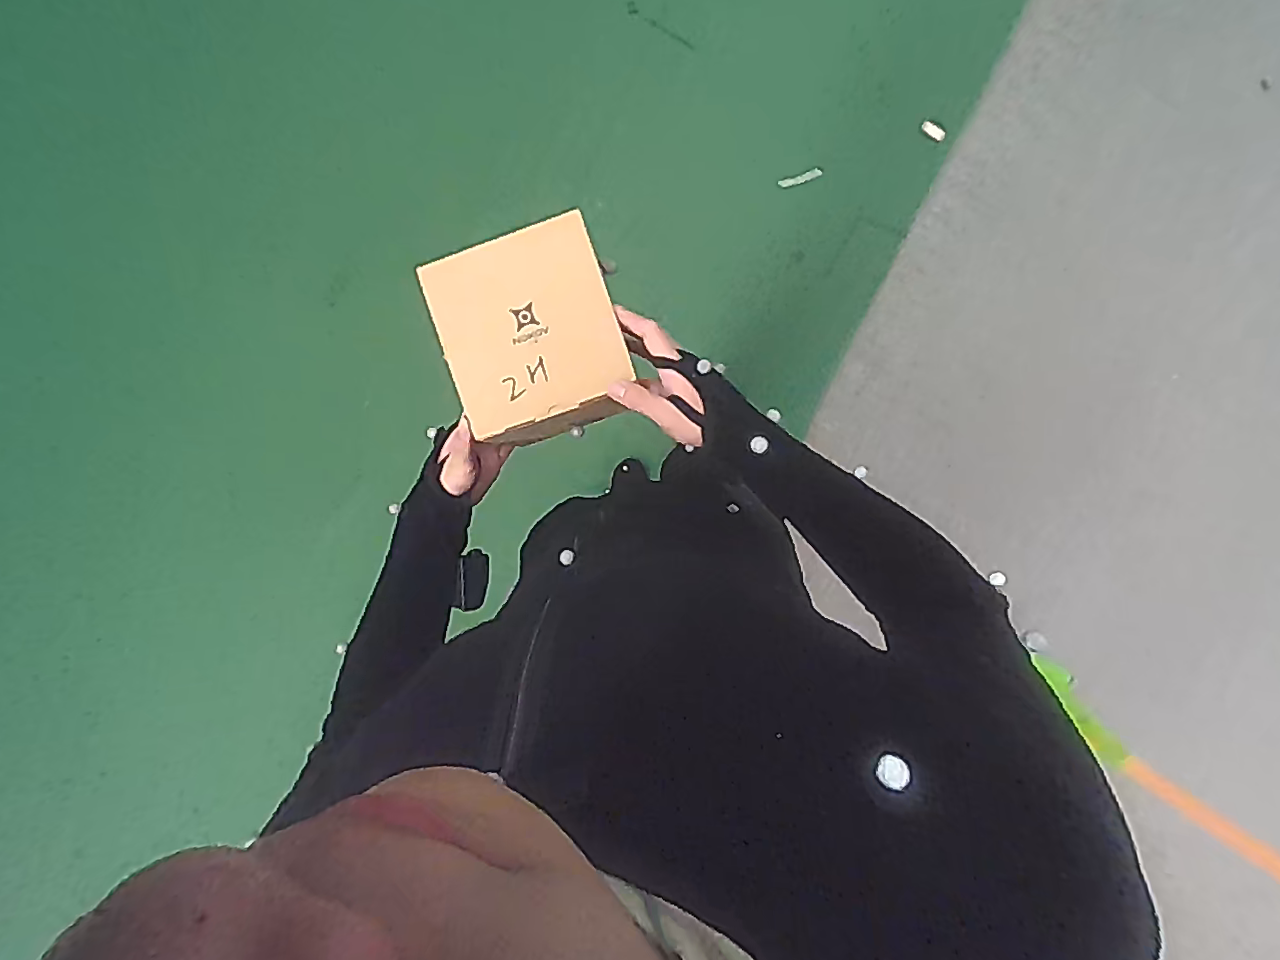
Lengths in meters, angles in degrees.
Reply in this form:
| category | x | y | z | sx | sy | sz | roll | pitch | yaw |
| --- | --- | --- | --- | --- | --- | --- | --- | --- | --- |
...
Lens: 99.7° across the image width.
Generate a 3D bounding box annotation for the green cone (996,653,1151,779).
| category | x | y | z | sx | sy | sz | roll | pitch | yaw |
| --- | --- | --- | --- | --- | --- | --- | --- | --- | --- |
| green cone | 1.164 | 0.645 | 1.418 | 0.200 | 0.368 | 0.202 | 26 | 98 | 1 |
